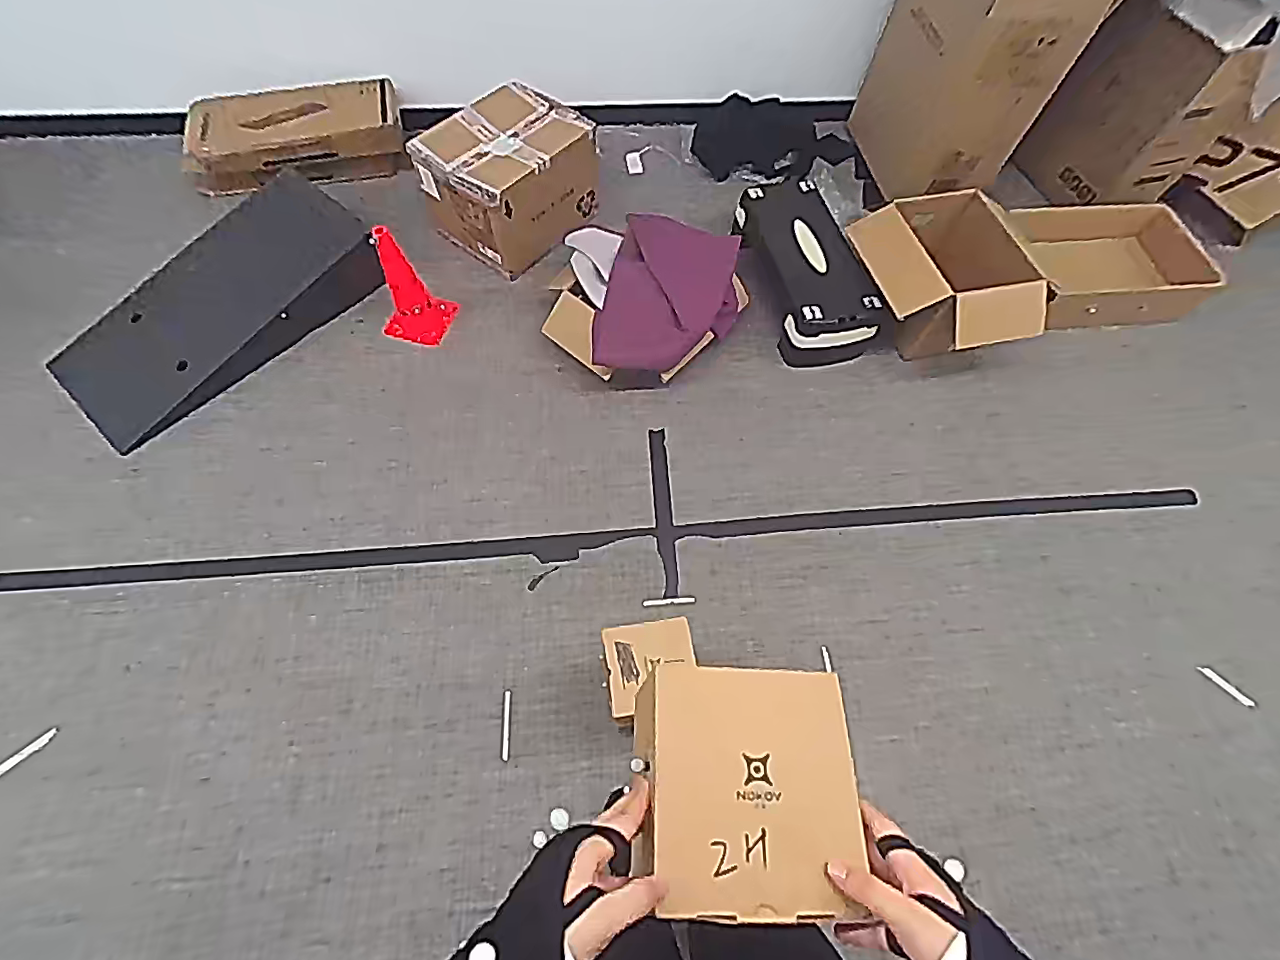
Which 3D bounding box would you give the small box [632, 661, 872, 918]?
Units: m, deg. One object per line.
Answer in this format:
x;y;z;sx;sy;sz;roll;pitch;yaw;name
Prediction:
0.082;0.277;0.497;0.168;0.176;0.179;4;60;-4;small box

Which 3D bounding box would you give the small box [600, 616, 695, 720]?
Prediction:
0.018;0.390;1.109;0.179;0.176;0.168;-8;64;-5;small box
